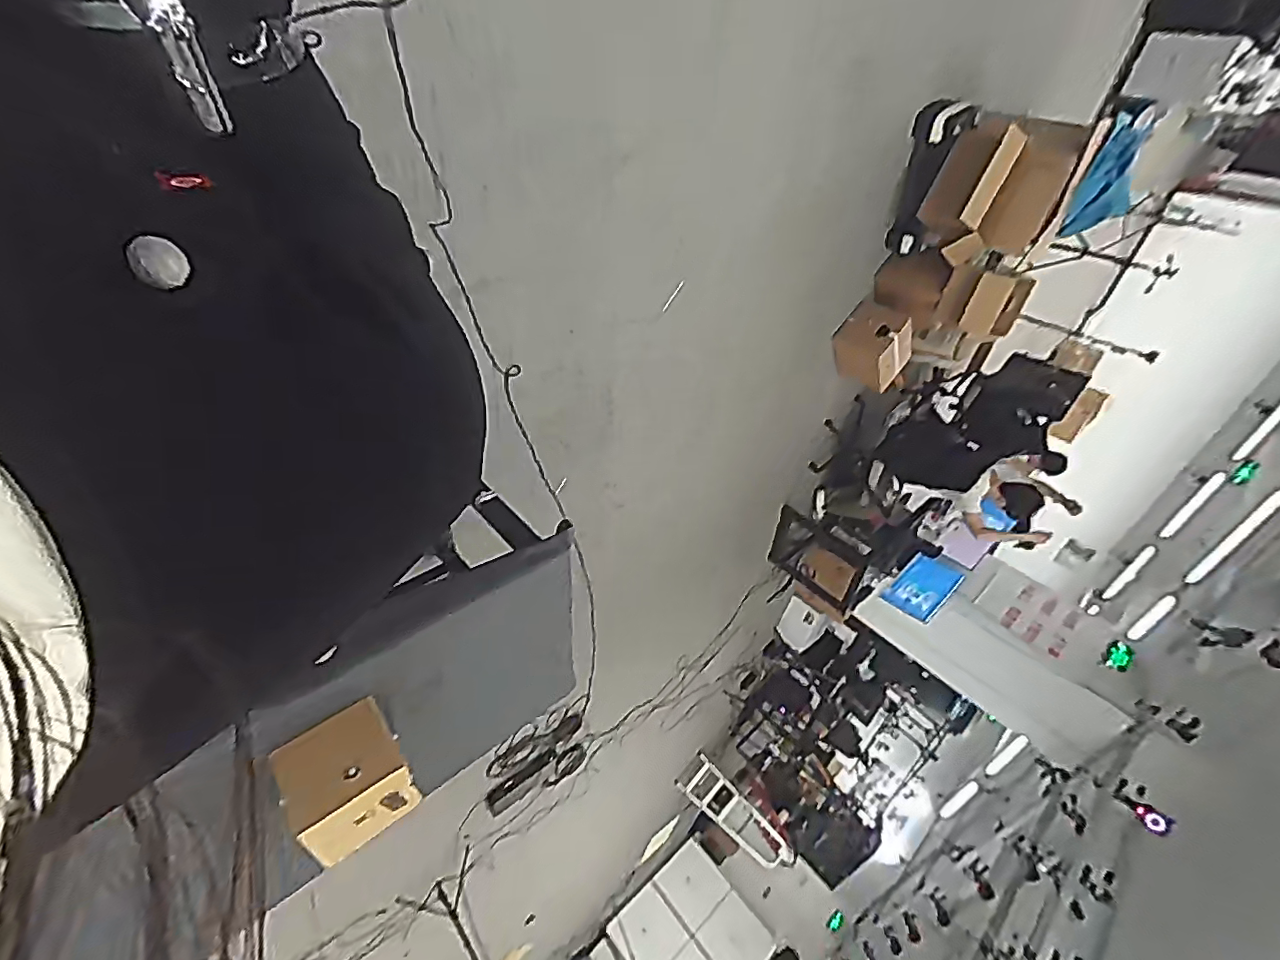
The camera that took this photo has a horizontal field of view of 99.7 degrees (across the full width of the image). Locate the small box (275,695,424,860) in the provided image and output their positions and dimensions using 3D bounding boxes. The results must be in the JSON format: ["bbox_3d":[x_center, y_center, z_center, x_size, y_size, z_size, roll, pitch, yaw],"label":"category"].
[{"bbox_3d":[-0.531,0.537,0.997,0.179,0.176,0.168,-27,139,-33],"label":"small box"}]
